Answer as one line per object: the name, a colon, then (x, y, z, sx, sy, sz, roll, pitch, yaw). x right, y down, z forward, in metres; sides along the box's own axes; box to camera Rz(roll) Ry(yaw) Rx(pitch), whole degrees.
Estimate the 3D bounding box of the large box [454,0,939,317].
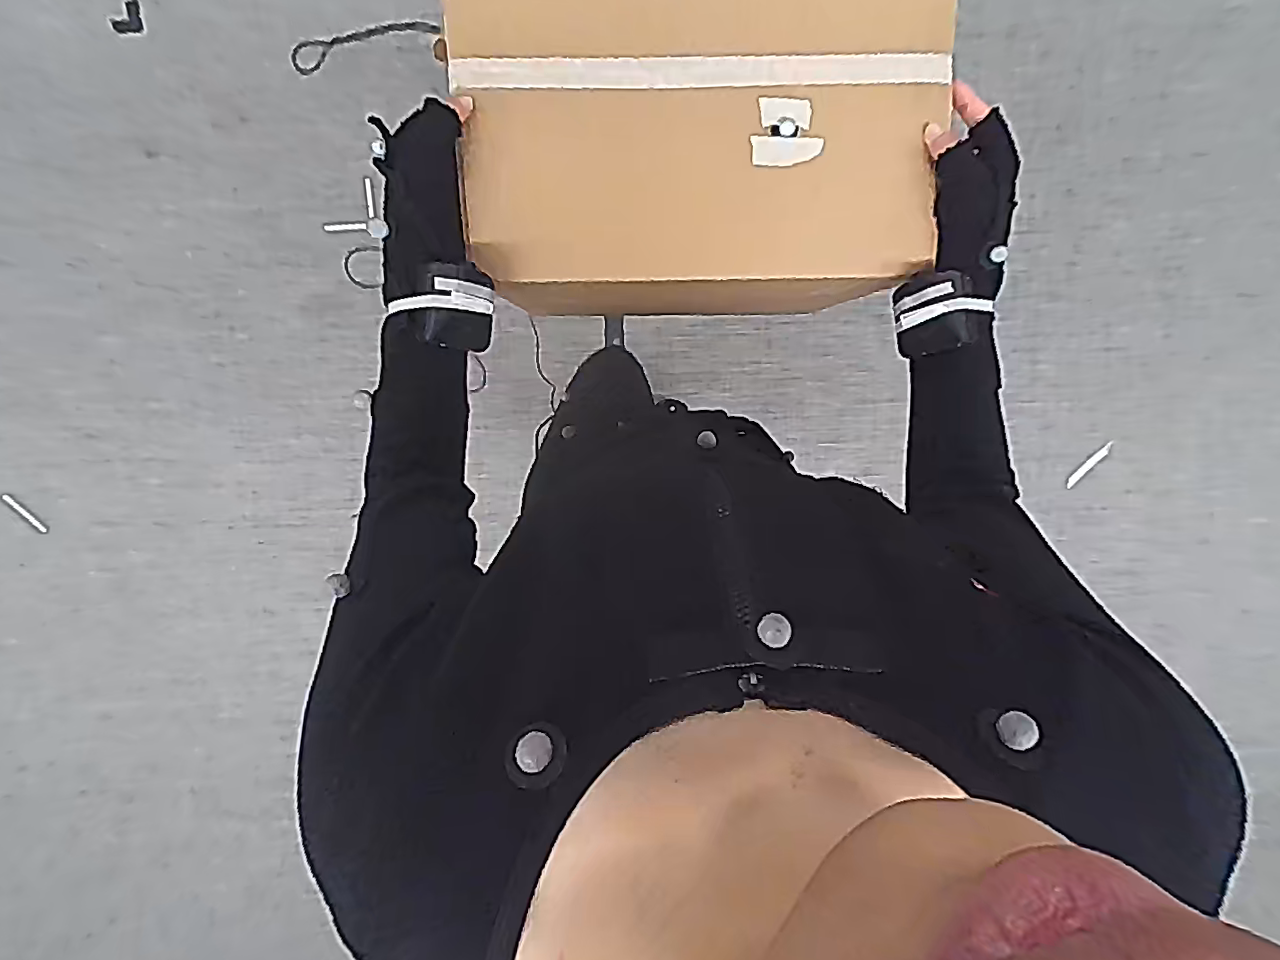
large box: (0.043, -0.361, 0.599, 0.408, 0.320, 0.320, -2, 102, -2)
